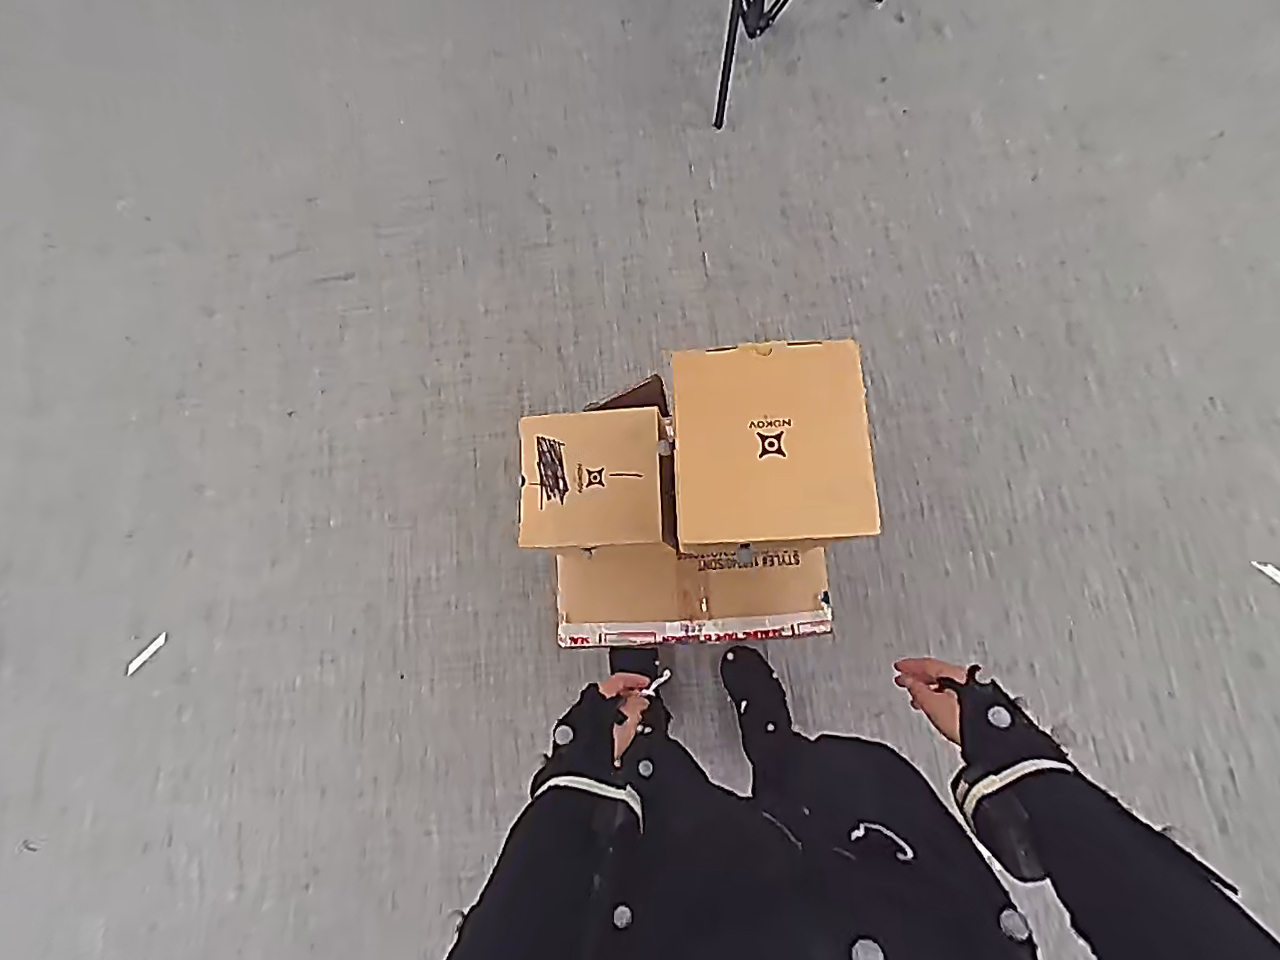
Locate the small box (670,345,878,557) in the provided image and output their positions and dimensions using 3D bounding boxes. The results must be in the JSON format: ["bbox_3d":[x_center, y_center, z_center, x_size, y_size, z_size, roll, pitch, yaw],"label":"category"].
[{"bbox_3d":[0.120,-0.015,0.543,0.168,0.176,0.179,-4,78,4],"label":"small box"}]
